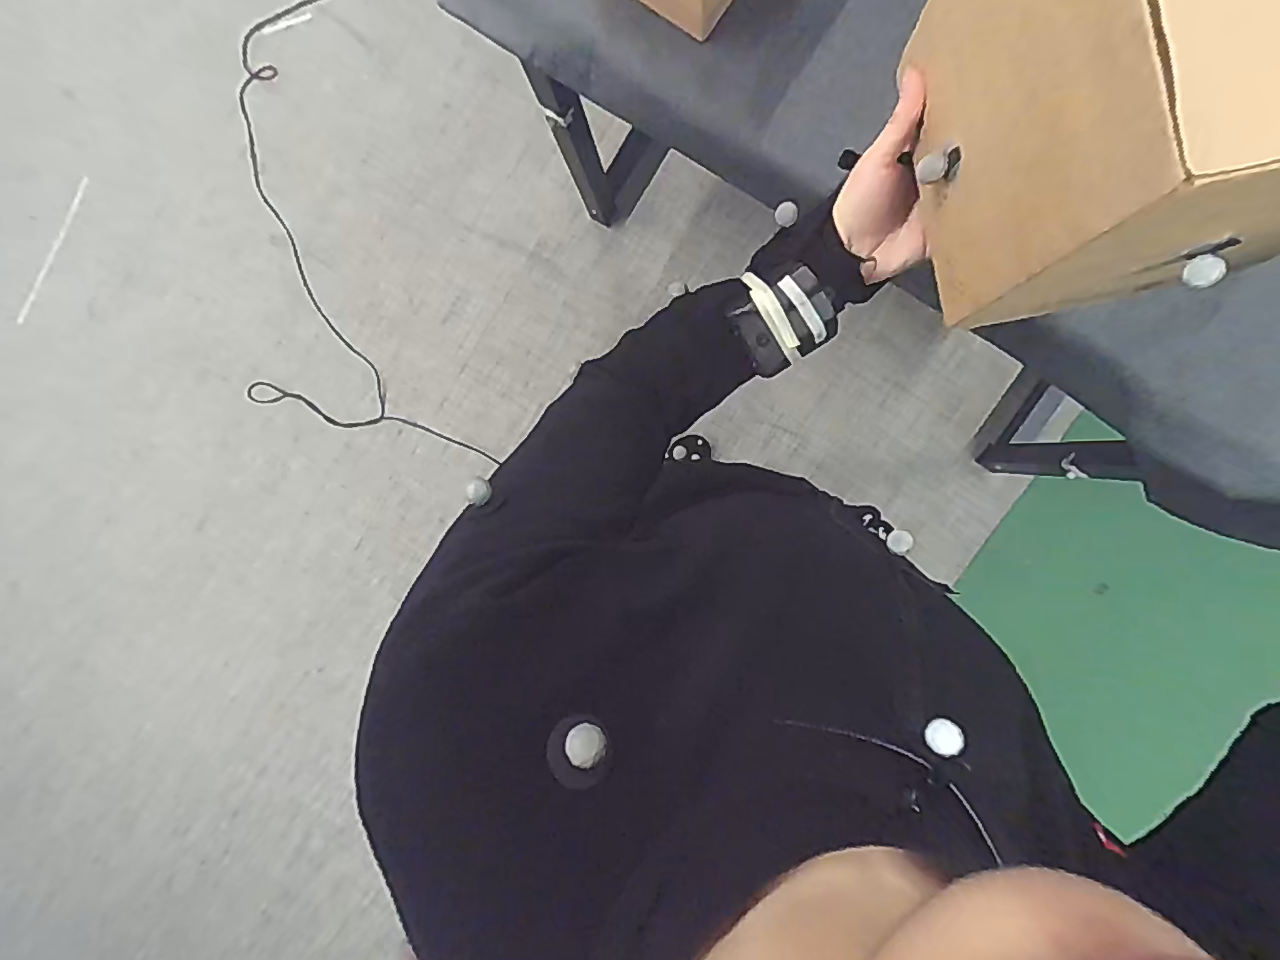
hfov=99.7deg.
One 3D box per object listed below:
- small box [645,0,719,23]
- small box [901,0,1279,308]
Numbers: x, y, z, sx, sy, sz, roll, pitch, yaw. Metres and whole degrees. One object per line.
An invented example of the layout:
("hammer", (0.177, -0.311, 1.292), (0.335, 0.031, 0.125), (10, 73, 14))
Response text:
("small box", (0.040, -0.608, 0.525), (0.179, 0.176, 0.168), (35, 94, 2))
("small box", (0.247, -0.195, 0.252), (0.168, 0.176, 0.179), (-11, 89, 5))
